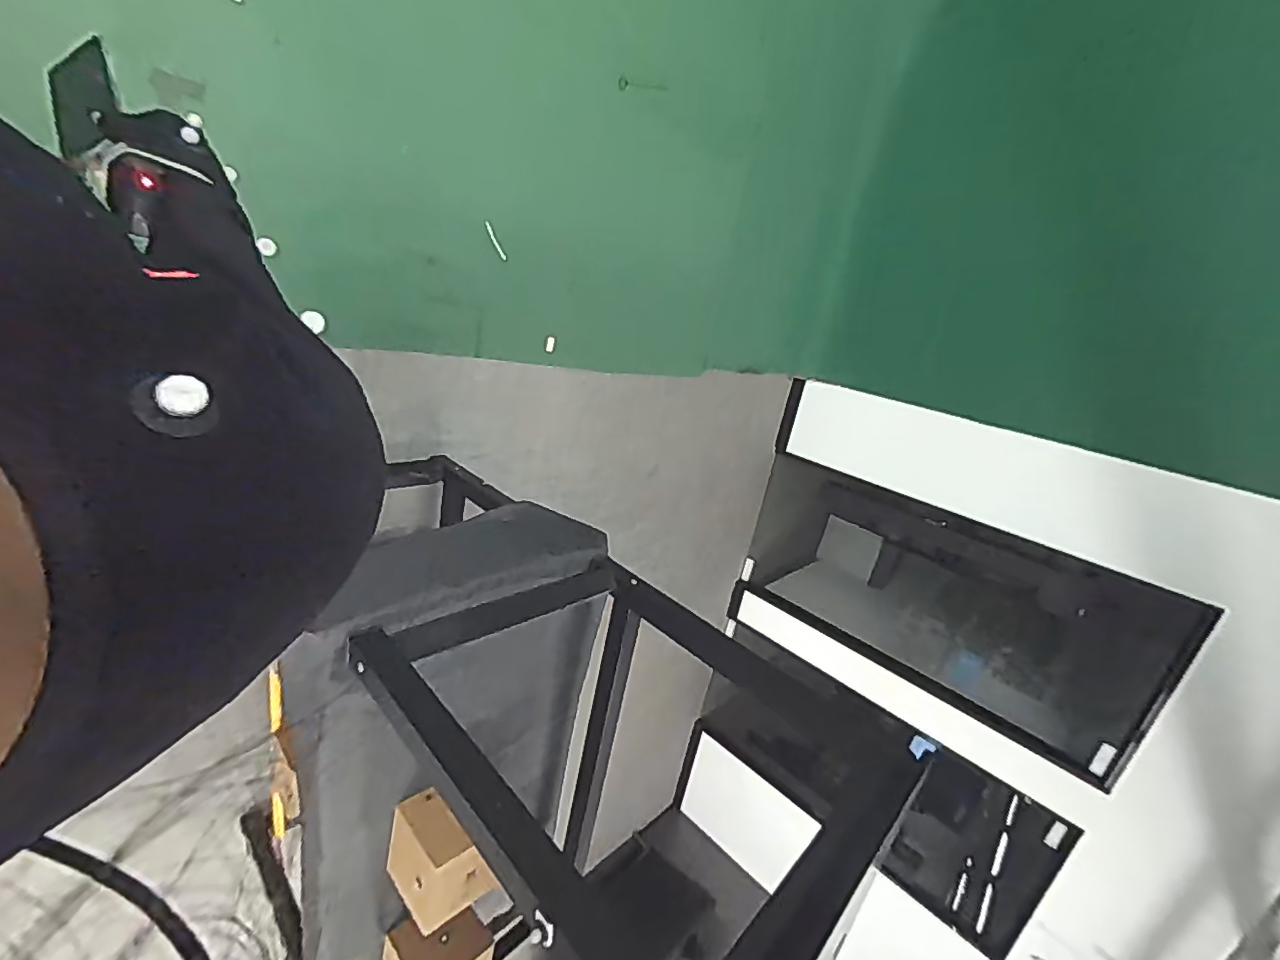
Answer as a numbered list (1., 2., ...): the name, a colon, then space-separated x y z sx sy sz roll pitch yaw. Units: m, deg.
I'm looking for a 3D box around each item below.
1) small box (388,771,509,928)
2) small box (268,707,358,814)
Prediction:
1. small box: -0.395 0.734 1.104 0.168 0.176 0.179 -5 115 -49
2. small box: -0.931 0.785 1.532 0.179 0.176 0.168 -5 115 -49
